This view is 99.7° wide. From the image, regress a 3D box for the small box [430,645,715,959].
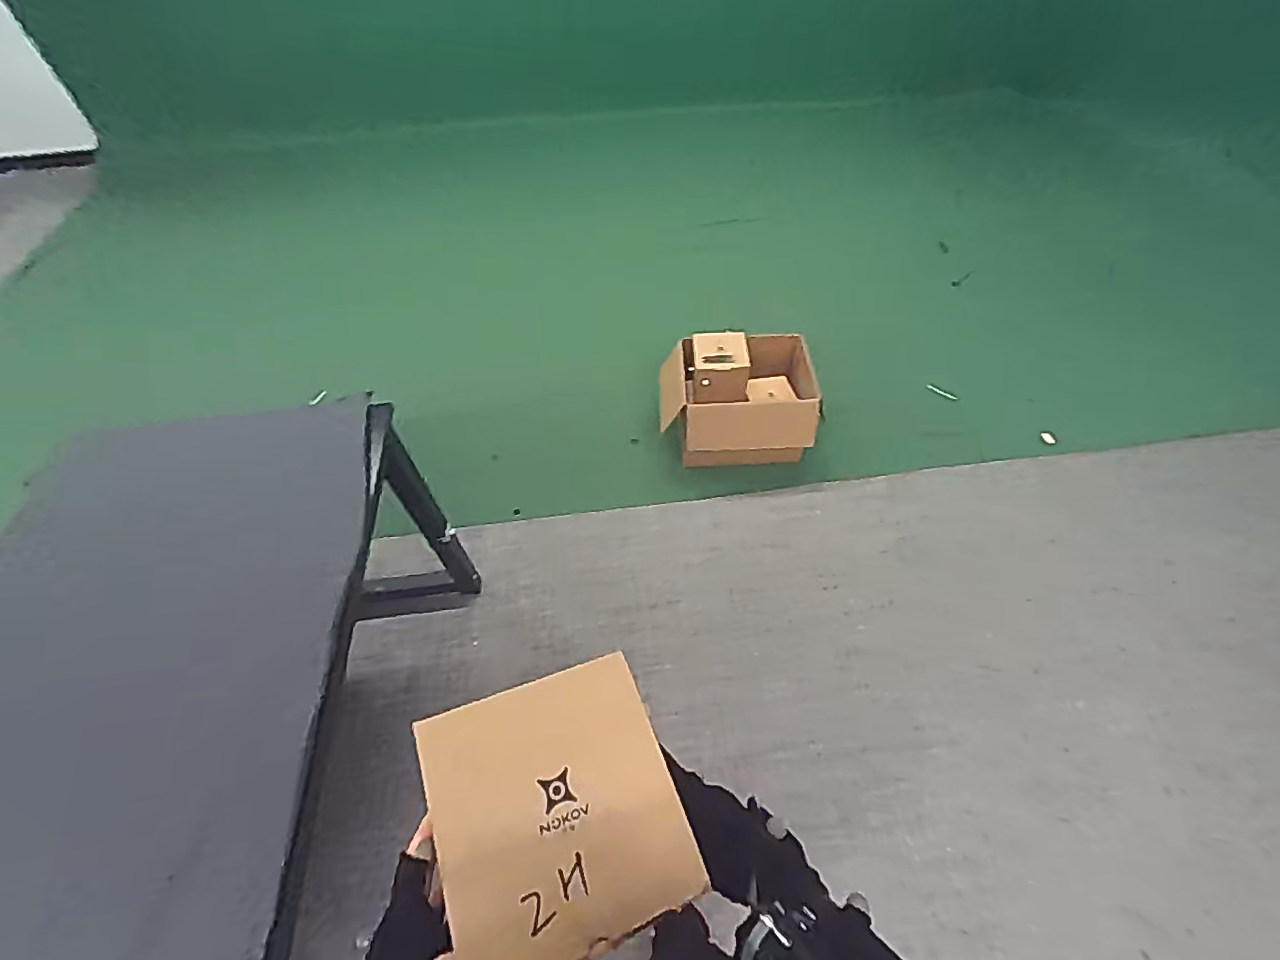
[{"bbox_3d":[-0.068,0.265,0.445,0.168,0.176,0.179,-12,60,-21],"label":"small box"}]
